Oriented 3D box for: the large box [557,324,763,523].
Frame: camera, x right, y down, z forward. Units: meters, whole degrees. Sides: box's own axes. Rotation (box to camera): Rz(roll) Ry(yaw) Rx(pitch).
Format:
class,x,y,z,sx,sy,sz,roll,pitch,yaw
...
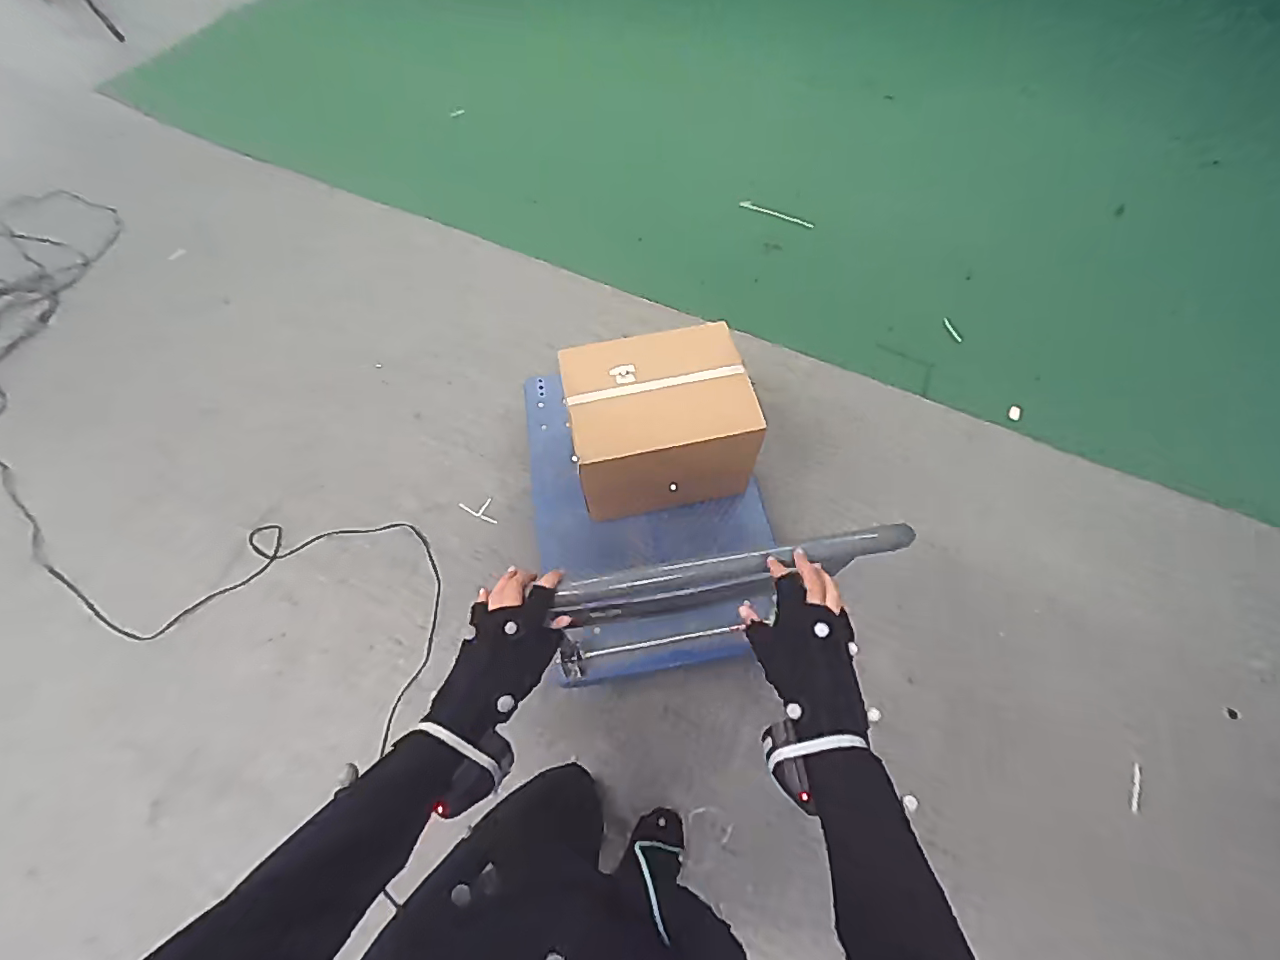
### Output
class,x,y,z,sx,sy,sz,roll,pitch,yaw
large box,0.041,-0.127,1.323,0.408,0.320,0.320,-12,62,-4
